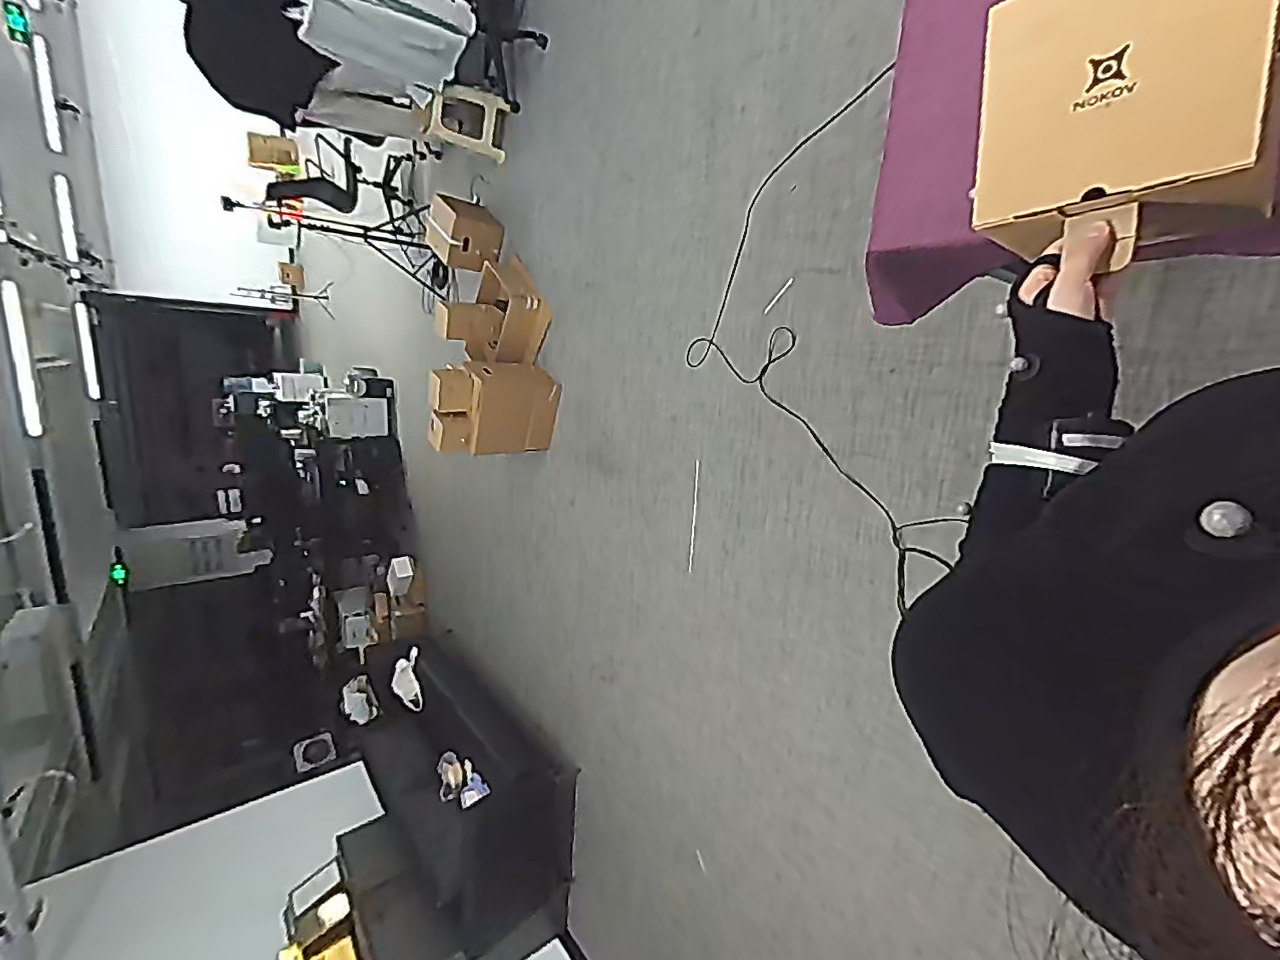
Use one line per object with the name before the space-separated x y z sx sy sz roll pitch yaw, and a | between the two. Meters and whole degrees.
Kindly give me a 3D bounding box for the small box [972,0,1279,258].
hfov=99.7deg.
small box | 0.412 -0.309 0.464 0.168 0.176 0.179 9 102 49
